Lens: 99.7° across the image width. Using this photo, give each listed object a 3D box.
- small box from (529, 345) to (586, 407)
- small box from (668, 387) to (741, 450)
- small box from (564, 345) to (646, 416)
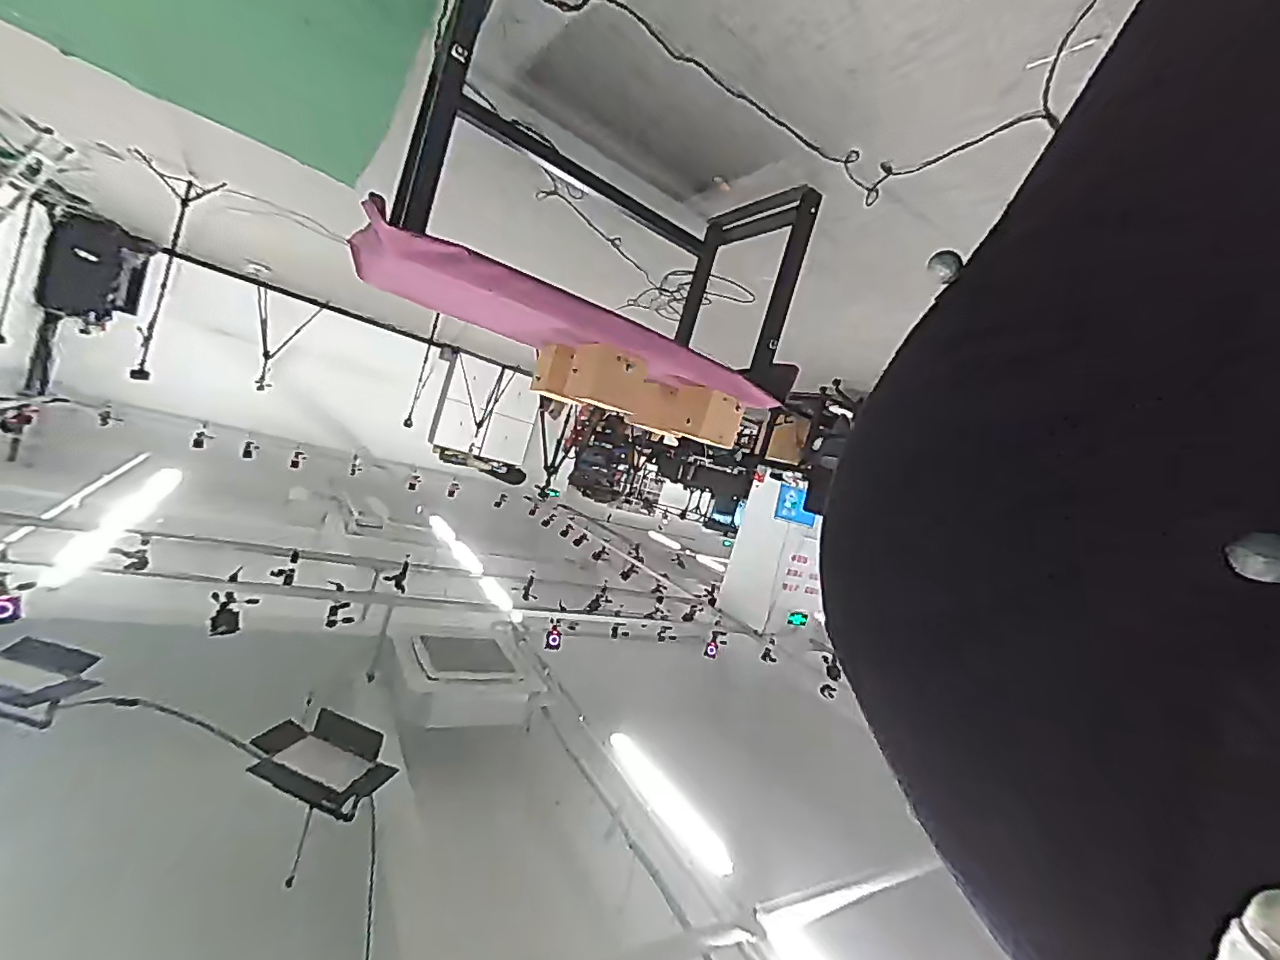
[{"bbox_3d":[-0.268,-0.364,1.896,0.168,0.176,0.179,16,-179,-29],"label":"small box"},{"bbox_3d":[0.226,-0.212,1.847,0.168,0.176,0.179,15,-176,-36],"label":"small box"},{"bbox_3d":[-0.103,-0.304,1.638,0.168,0.176,0.179,14,-176,-34],"label":"small box"}]
